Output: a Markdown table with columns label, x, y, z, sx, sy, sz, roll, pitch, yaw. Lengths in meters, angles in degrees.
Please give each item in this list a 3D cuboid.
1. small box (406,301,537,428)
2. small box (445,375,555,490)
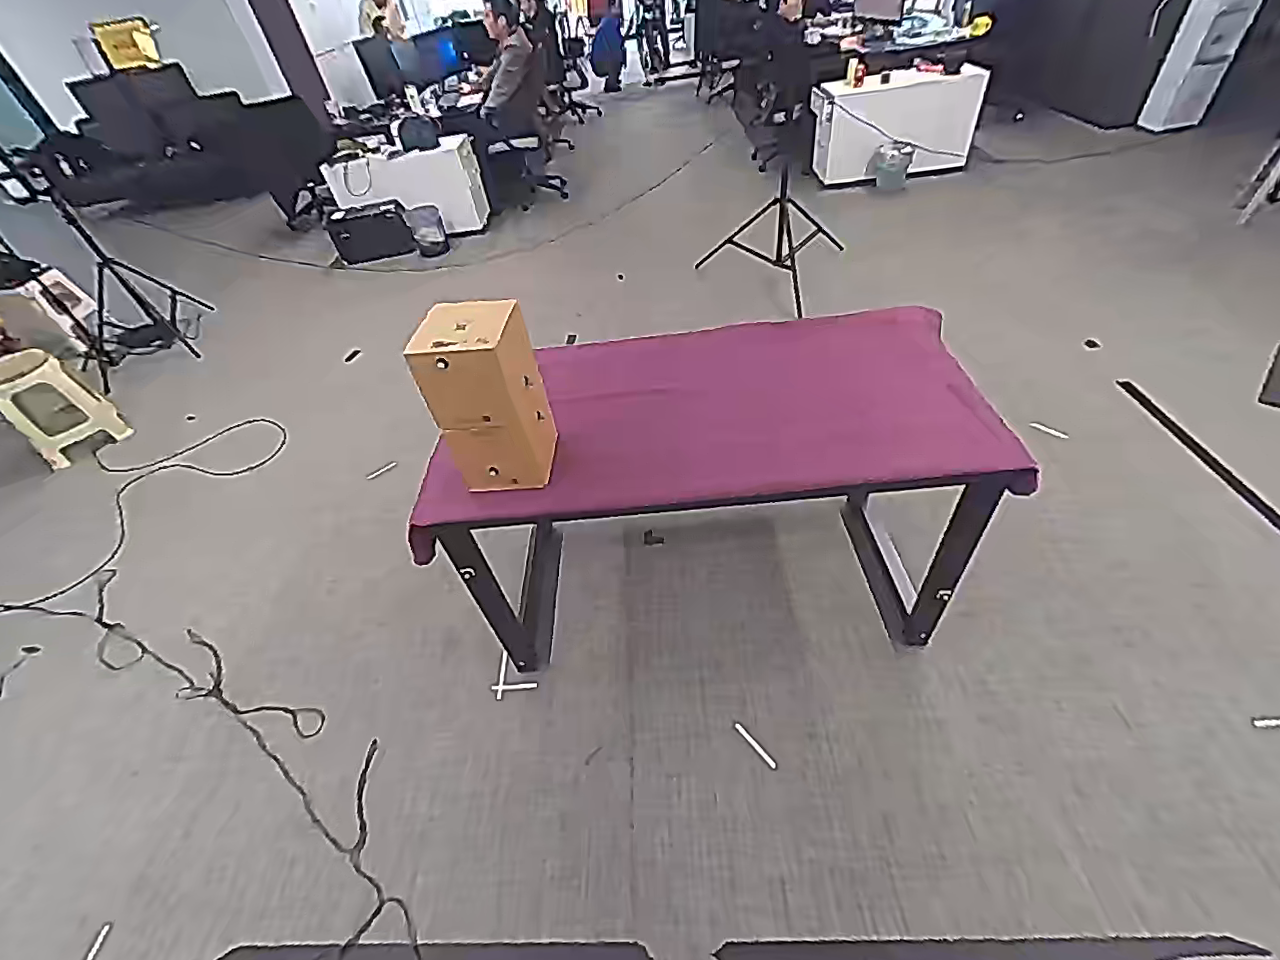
| label | x | y | z | sx | sy | sz | roll | pitch | yaw |
| --- | --- | --- | --- | --- | --- | --- | --- | --- | --- |
| small box | -0.302 | -0.215 | 1.016 | 0.168 | 0.176 | 0.179 | -2 | 44 | 7 |
| small box | -0.280 | -0.099 | 1.129 | 0.168 | 0.176 | 0.179 | -3 | 44 | 5 |
